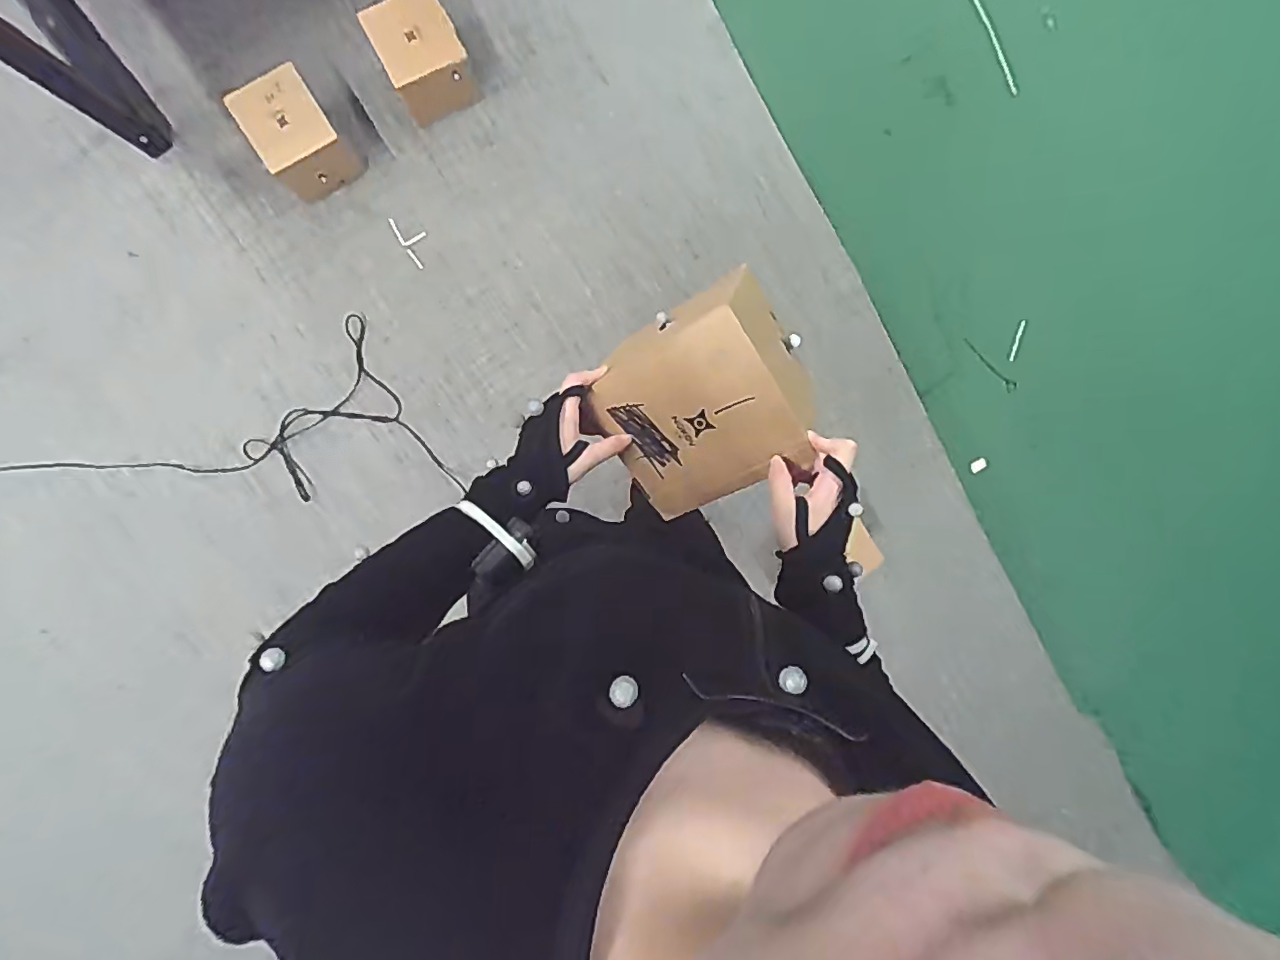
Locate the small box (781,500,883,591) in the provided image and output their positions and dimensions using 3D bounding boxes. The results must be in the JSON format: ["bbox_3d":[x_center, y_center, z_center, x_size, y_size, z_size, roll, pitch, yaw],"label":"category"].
[{"bbox_3d":[0.514,0.169,1.472,0.168,0.176,0.179,-34,99,-2],"label":"small box"}]

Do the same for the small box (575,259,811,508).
[{"bbox_3d":[0.068,-0.105,0.576,0.179,0.176,0.168,-27,111,29],"label":"small box"}]
